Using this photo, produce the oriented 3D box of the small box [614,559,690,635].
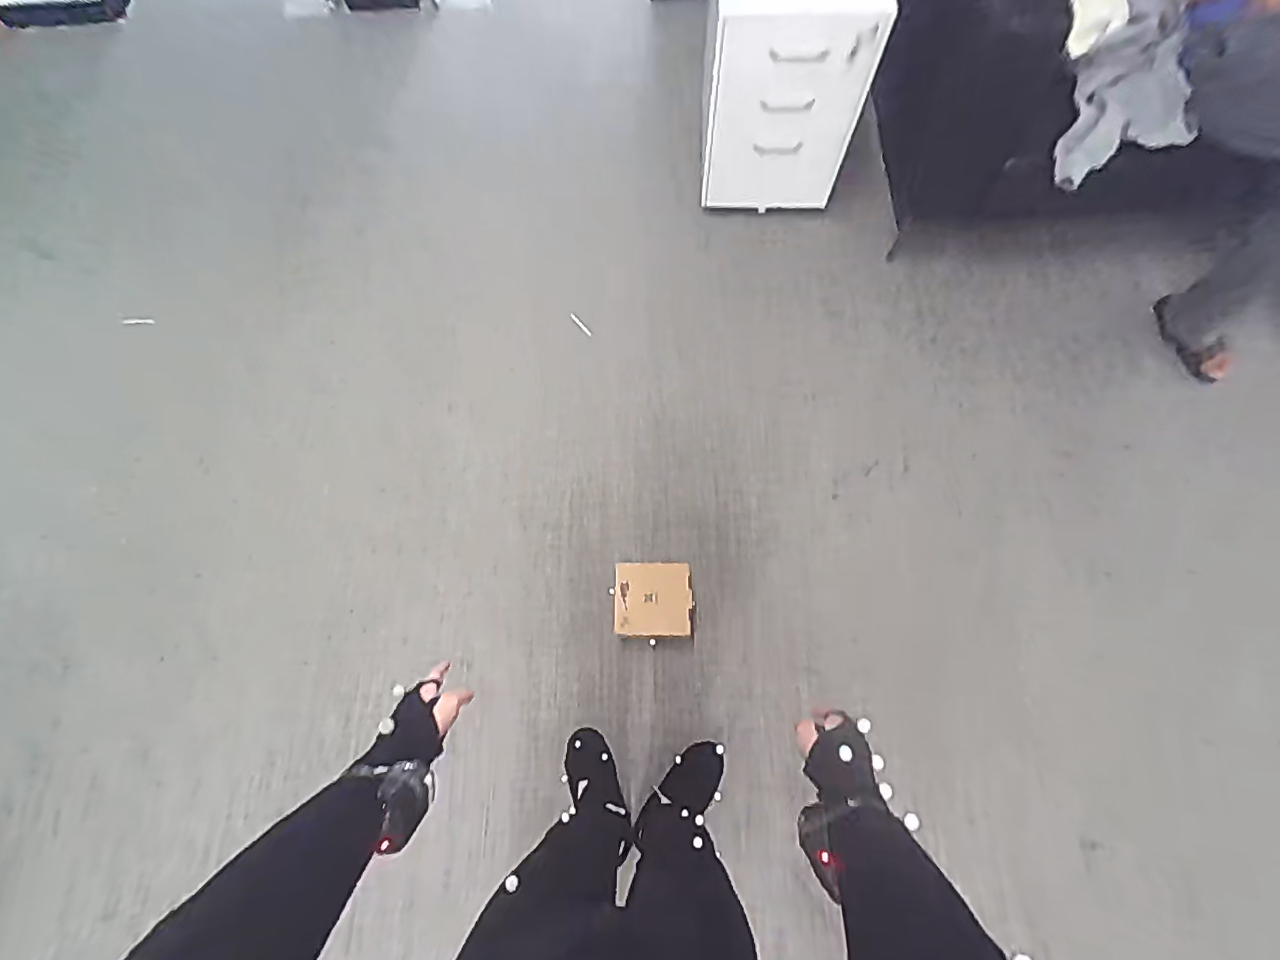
[{"bbox_3d":[0.028,0.290,1.330,0.179,0.176,0.168,1,71,1],"label":"small box"}]
